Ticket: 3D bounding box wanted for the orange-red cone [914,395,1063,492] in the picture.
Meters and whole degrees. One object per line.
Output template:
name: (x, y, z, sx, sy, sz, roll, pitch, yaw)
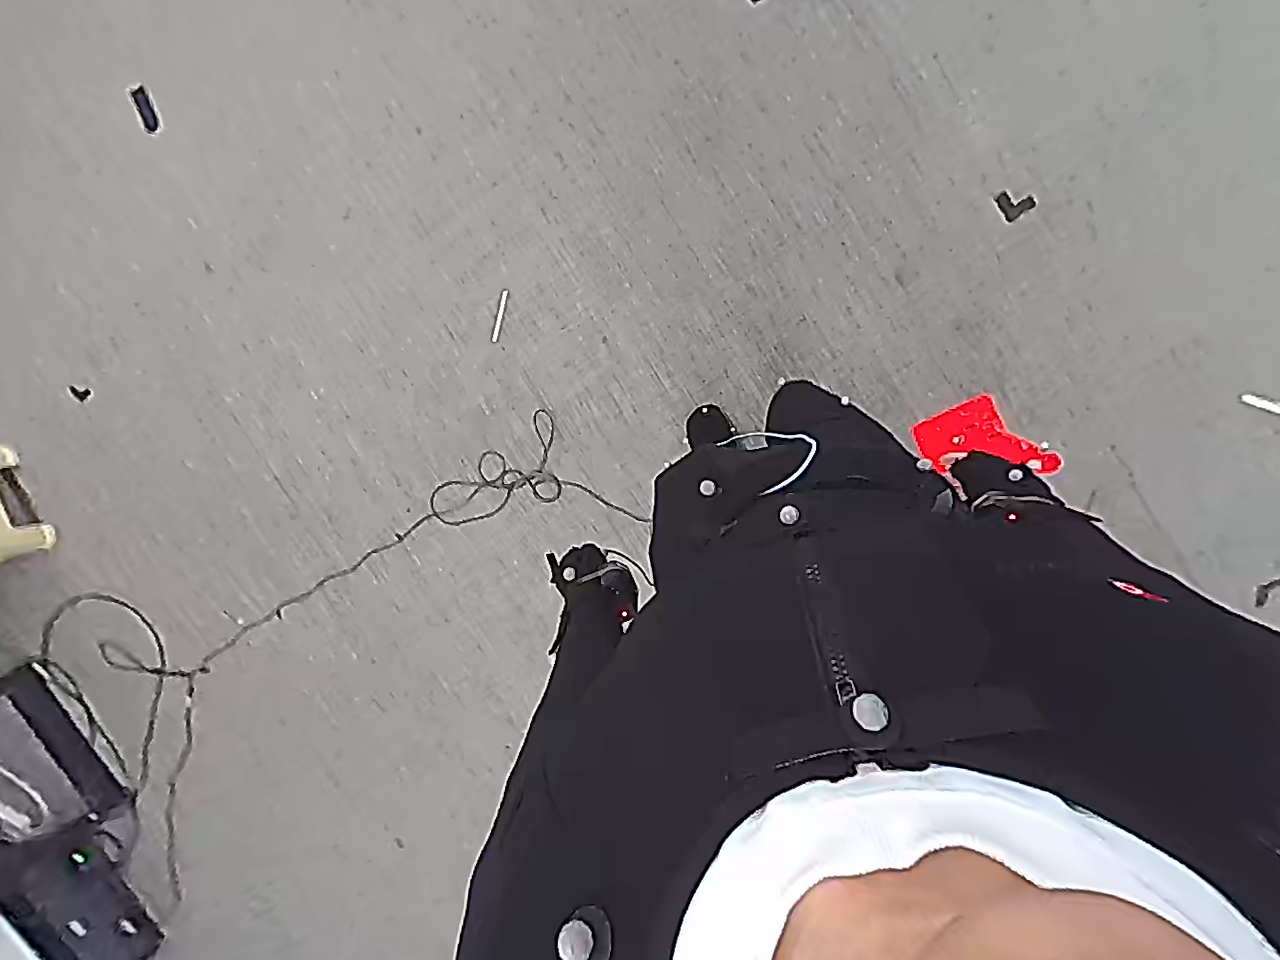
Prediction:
orange-red cone: (0.779, -0.061, 1.162, 0.199, 0.360, 0.198, -25, 95, 9)
